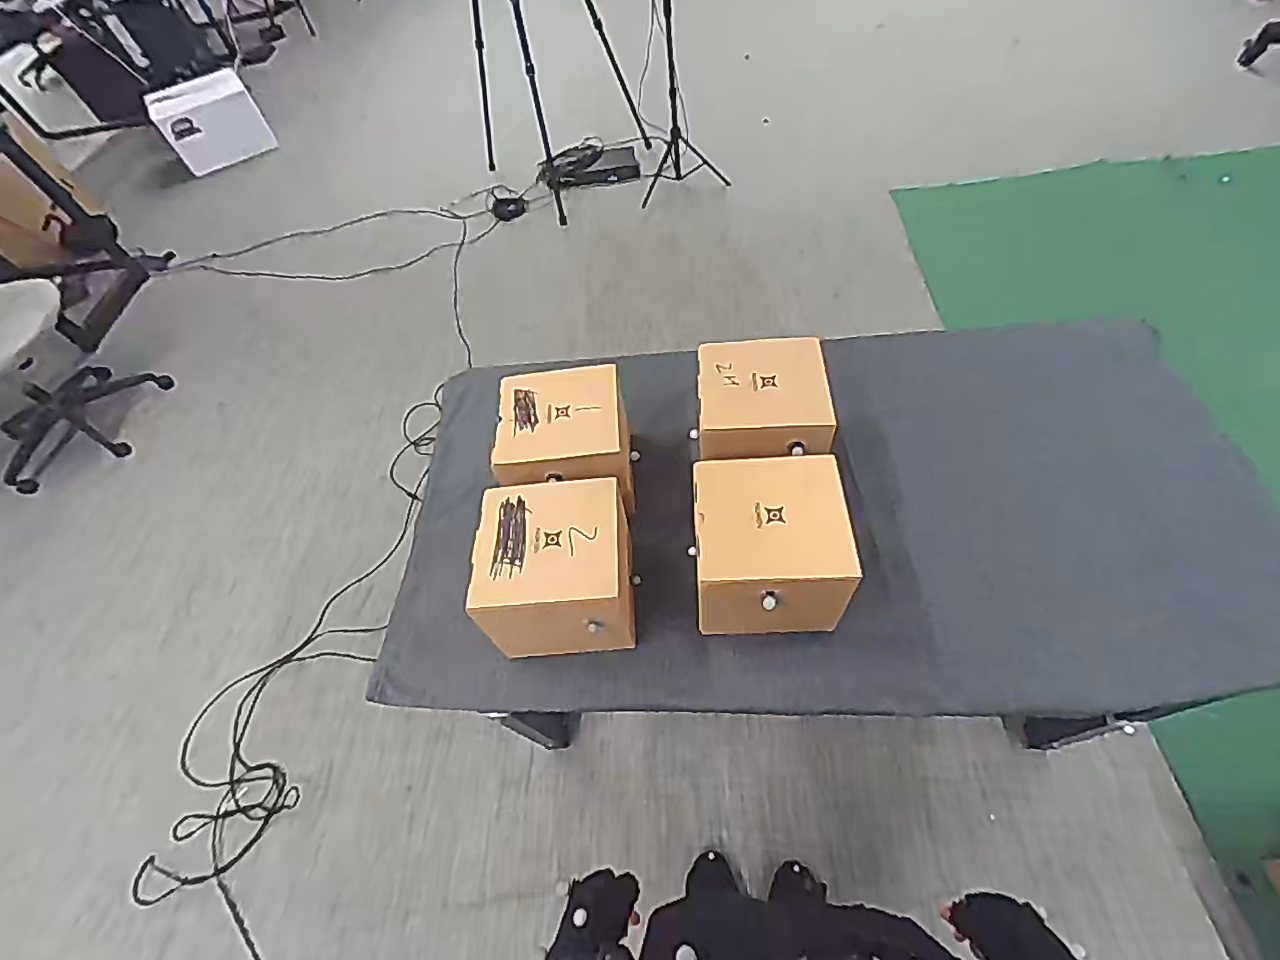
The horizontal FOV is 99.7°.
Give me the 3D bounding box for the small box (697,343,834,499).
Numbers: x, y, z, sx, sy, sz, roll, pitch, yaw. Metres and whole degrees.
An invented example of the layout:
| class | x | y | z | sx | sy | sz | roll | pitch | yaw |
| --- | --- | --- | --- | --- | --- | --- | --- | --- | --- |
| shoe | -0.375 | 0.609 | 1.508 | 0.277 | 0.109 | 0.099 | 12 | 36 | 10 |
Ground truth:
| class | x | y | z | sx | sy | sz | roll | pitch | yaw |
| --- | --- | --- | --- | --- | --- | --- | --- | --- | --- |
| small box | 0.175 | -0.082 | 0.807 | 0.179 | 0.176 | 0.168 | -2 | 56 | 7 |
